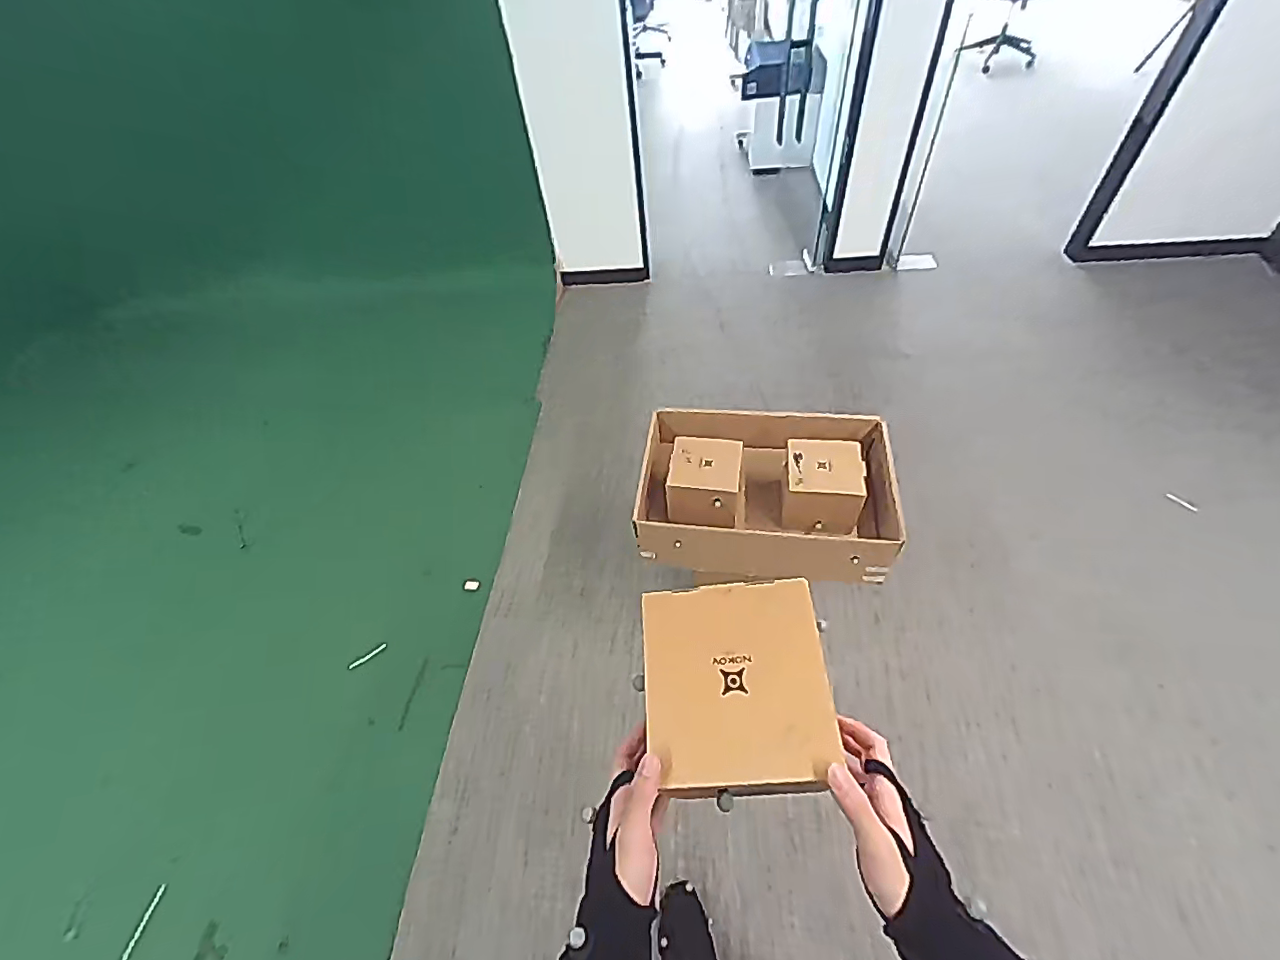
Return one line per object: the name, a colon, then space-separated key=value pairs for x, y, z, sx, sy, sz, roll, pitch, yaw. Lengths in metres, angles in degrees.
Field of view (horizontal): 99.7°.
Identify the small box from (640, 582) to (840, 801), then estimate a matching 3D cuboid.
small box: x=0.097 y=0.224 z=0.555 sx=0.168 sy=0.176 sz=0.179 roll=-7 pitch=54 yaw=8
